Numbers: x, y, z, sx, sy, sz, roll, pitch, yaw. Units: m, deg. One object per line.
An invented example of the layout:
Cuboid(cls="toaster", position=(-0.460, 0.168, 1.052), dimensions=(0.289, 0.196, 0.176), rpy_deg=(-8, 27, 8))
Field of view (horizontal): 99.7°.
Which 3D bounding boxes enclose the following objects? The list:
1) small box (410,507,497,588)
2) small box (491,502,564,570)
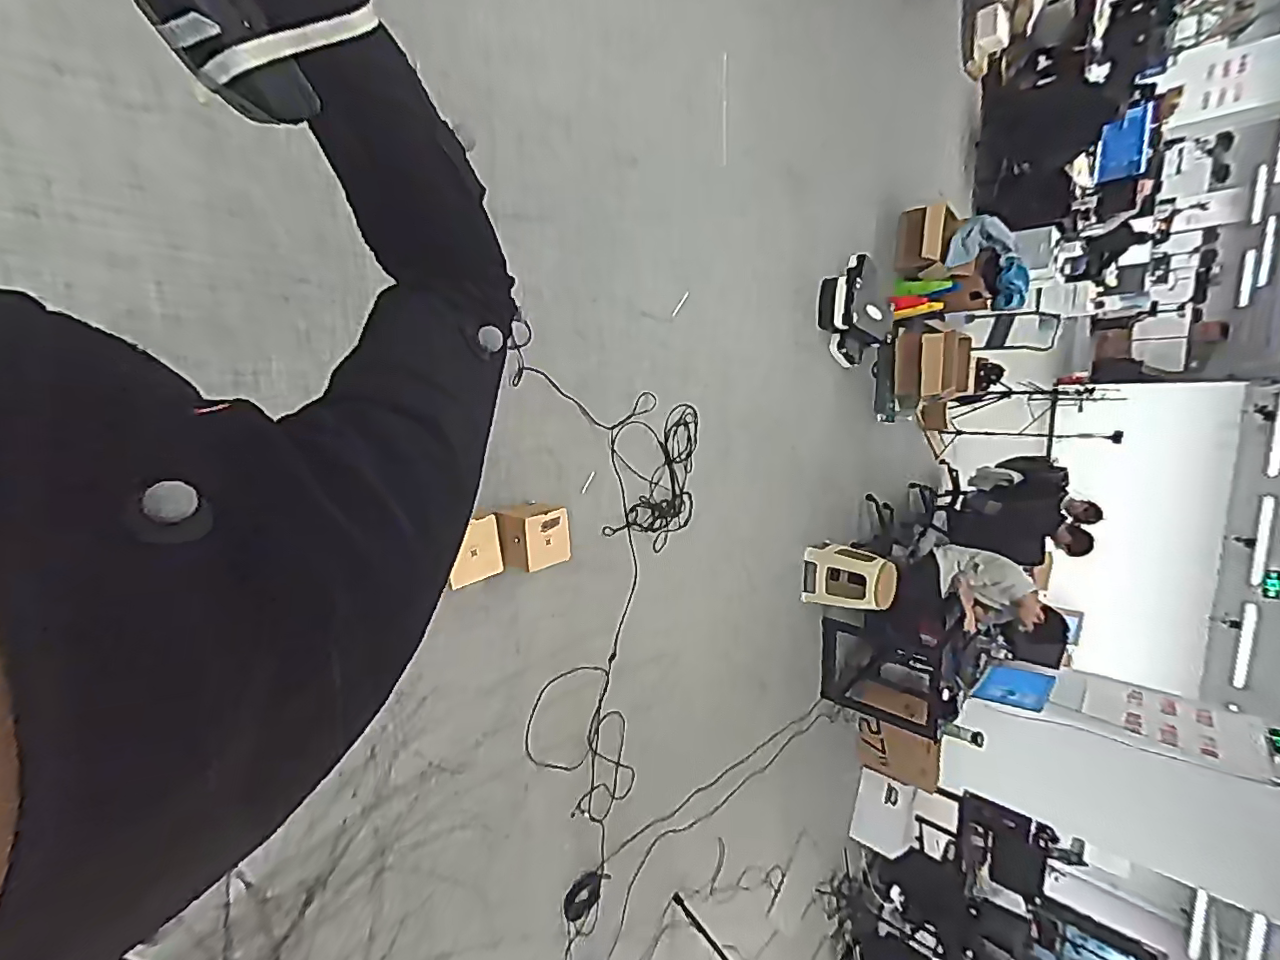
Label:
Cuboid(cls="small box", position=(-0.540, 0.188, 1.563), dimensions=(0.168, 0.176, 0.179), rpy_deg=(-19, 108, -45))
Cuboid(cls="small box", position=(-0.366, 0.172, 1.750), dimensions=(0.168, 0.176, 0.179), rpy_deg=(-14, 107, -46))
